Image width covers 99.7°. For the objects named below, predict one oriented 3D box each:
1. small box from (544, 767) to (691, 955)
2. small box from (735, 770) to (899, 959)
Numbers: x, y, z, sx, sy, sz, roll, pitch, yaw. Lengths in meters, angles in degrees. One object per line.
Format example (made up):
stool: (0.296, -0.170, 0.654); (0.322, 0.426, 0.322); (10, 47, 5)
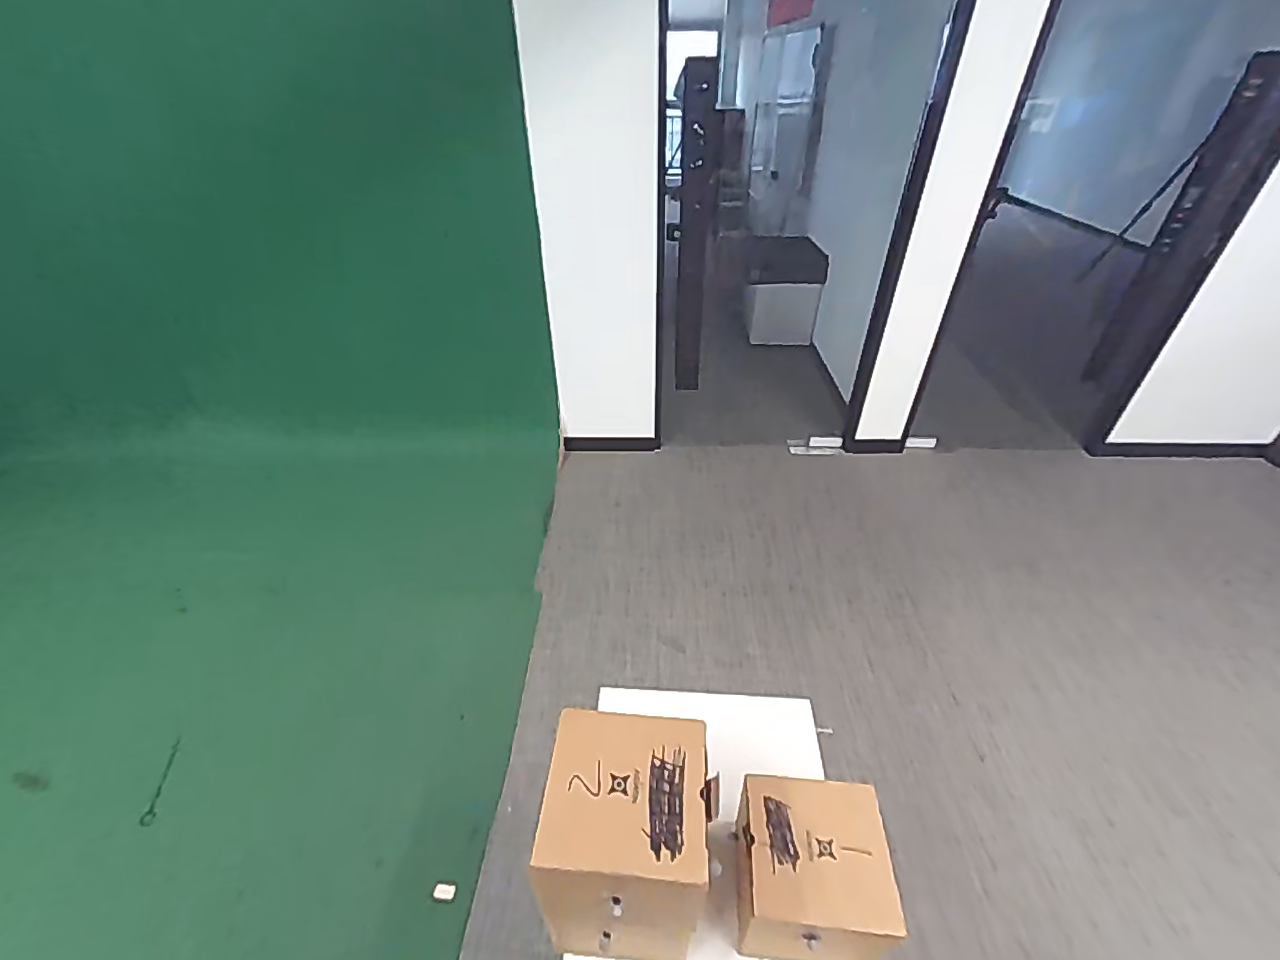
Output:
small box: (-0.022, 0.521, 0.741); (0.179, 0.176, 0.168); (4, 38, 3)
small box: (0.223, 0.525, 0.737); (0.179, 0.176, 0.168); (4, 38, 5)
